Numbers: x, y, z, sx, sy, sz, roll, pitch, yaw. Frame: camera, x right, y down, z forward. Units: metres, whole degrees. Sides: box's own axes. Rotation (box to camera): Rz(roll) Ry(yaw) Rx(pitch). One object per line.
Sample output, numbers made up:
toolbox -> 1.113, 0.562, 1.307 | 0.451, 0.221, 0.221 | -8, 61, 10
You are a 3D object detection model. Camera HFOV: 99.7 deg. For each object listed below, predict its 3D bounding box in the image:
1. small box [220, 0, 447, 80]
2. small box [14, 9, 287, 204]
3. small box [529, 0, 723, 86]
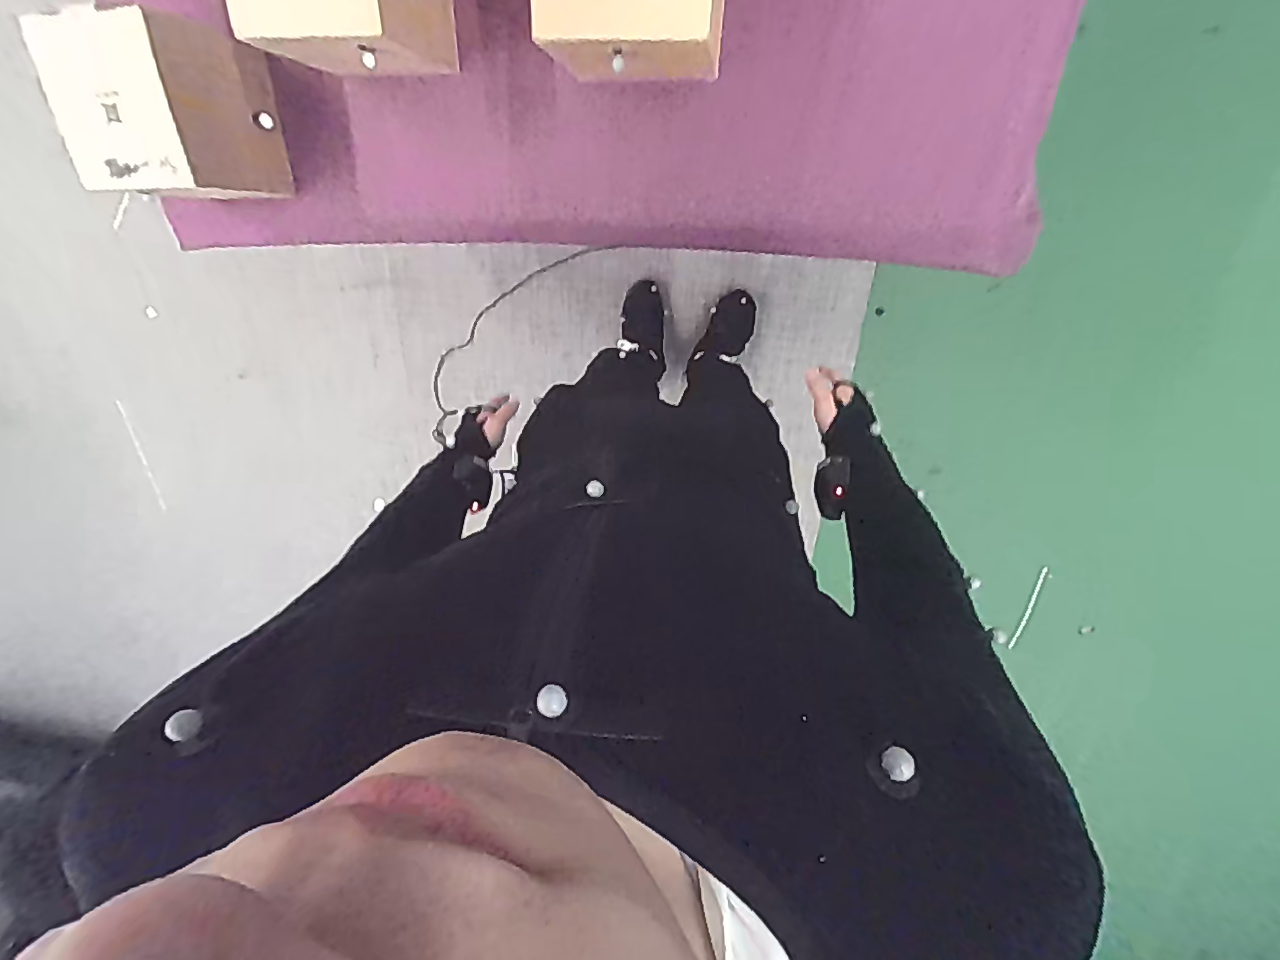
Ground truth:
small box -> -0.329, -0.557, 0.591 | 0.179, 0.176, 0.168 | 6, 116, 8
small box -> -0.599, -0.458, 0.690 | 0.168, 0.176, 0.179 | 5, 115, 10
small box -> -0.004, -0.517, 0.549 | 0.179, 0.176, 0.168 | 7, 117, 9
